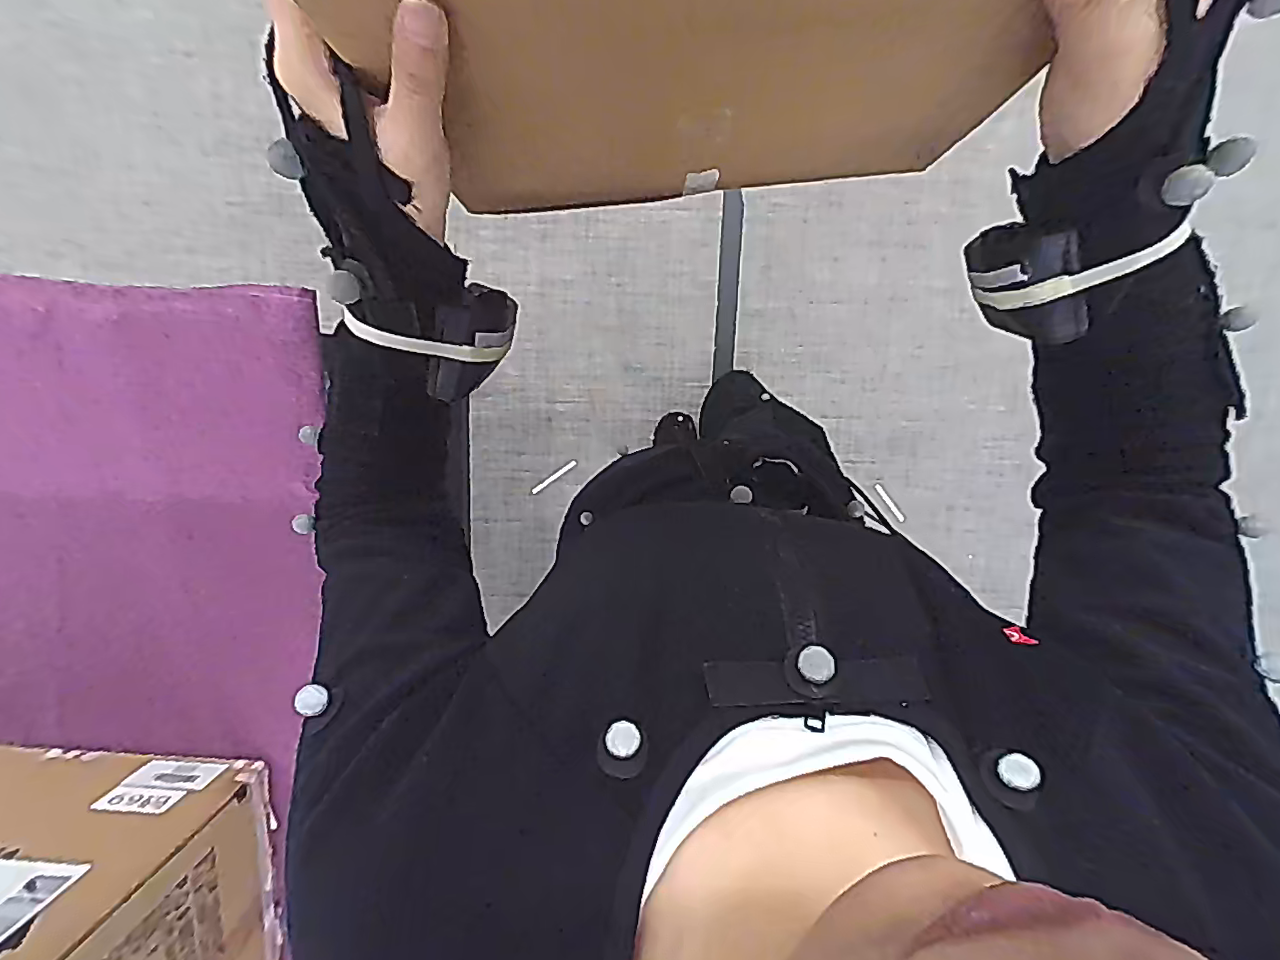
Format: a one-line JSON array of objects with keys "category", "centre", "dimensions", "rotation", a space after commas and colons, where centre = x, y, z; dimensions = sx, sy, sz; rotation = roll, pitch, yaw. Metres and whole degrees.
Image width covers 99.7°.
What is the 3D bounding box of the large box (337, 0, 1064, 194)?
[{"category": "large box", "centre": [0.015, -0.385, 0.192], "dimensions": [0.320, 0.320, 0.408], "rotation": [-6, 96, 2]}]
